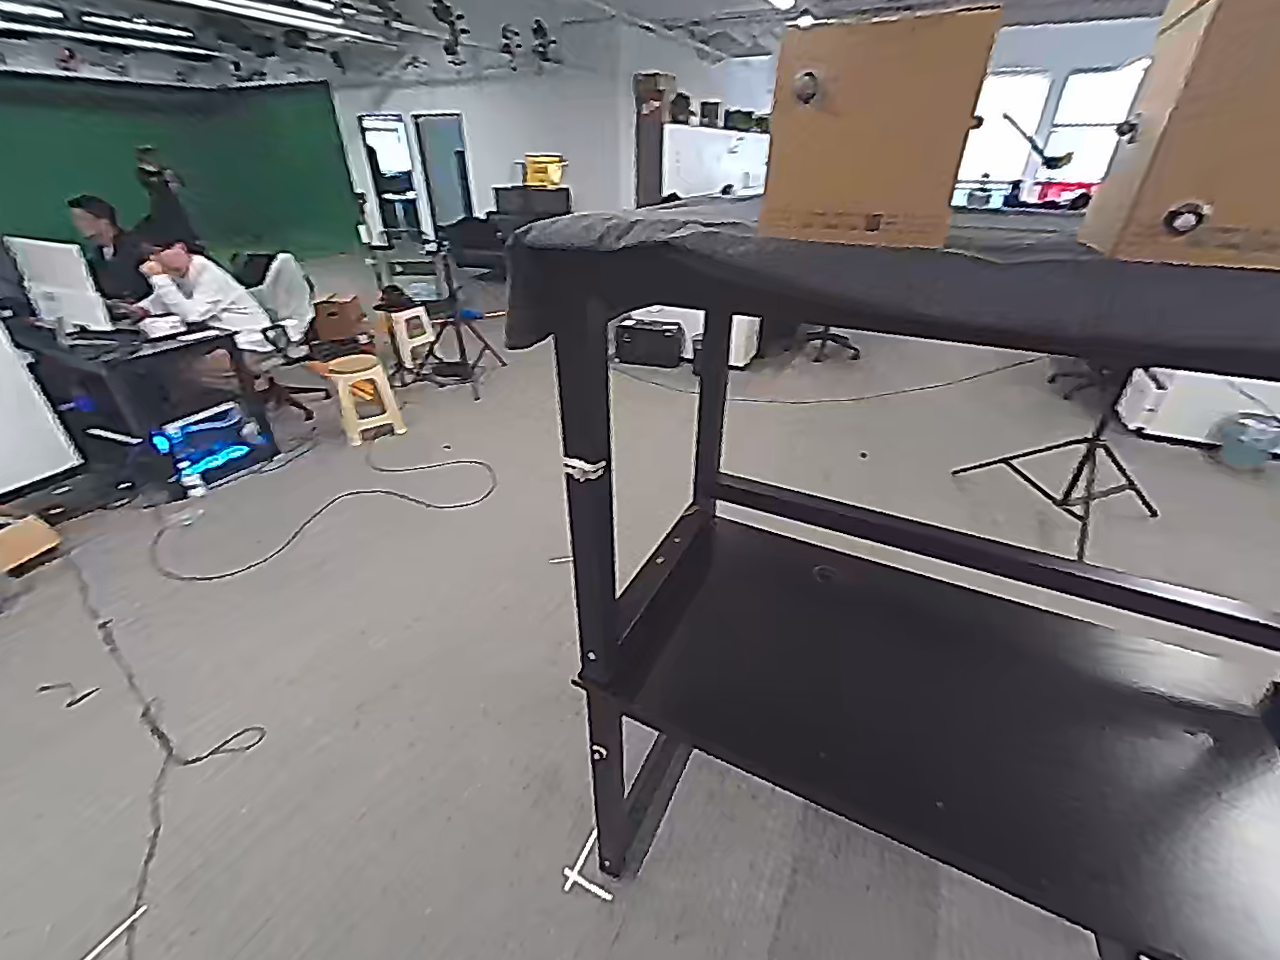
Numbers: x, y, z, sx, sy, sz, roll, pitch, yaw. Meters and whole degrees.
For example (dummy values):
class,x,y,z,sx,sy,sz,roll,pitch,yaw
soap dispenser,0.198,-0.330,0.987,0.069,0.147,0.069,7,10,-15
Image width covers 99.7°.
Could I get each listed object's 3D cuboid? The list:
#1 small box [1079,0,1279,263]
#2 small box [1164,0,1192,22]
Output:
class,x,y,z,sx,sy,sz,roll,pitch,yaw
small box,0.482,-0.267,0.420,0.168,0.176,0.179,15,32,23
small box,0.486,-0.408,0.341,0.168,0.176,0.179,14,33,24
